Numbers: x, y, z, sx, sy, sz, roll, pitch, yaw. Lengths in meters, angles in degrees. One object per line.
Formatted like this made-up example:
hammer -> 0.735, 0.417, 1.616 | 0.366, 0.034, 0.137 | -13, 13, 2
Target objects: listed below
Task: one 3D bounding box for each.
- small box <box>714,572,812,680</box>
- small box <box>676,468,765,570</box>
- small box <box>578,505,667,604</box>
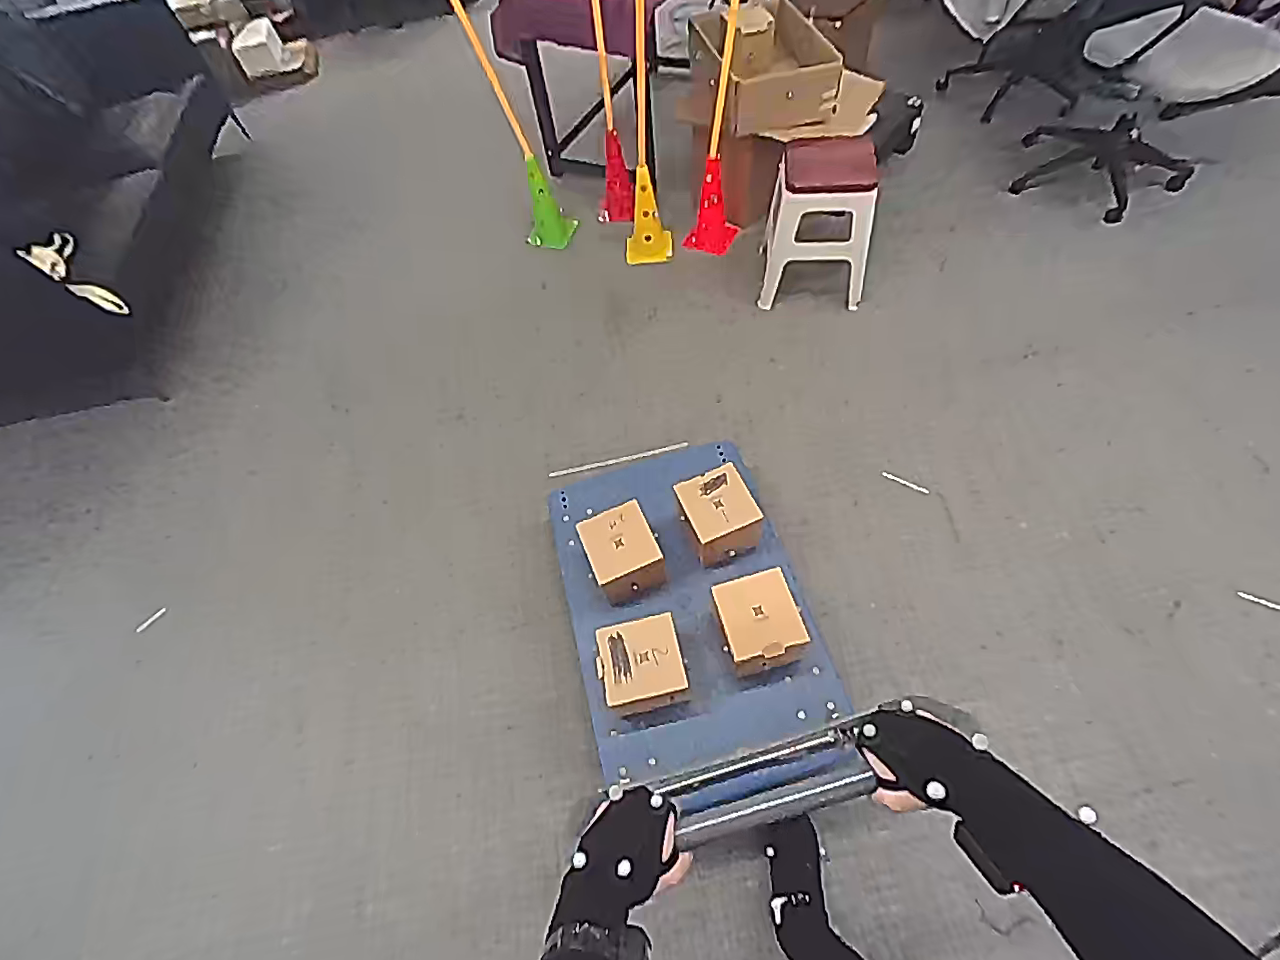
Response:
small box -> 0.272, 0.339, 1.246 | 0.168, 0.176, 0.179 | -16, 59, -2
small box -> 0.202, 0.104, 1.394 | 0.168, 0.176, 0.179 | -22, 60, -5
small box -> -0.040, 0.197, 1.371 | 0.168, 0.176, 0.179 | -22, 59, -7
